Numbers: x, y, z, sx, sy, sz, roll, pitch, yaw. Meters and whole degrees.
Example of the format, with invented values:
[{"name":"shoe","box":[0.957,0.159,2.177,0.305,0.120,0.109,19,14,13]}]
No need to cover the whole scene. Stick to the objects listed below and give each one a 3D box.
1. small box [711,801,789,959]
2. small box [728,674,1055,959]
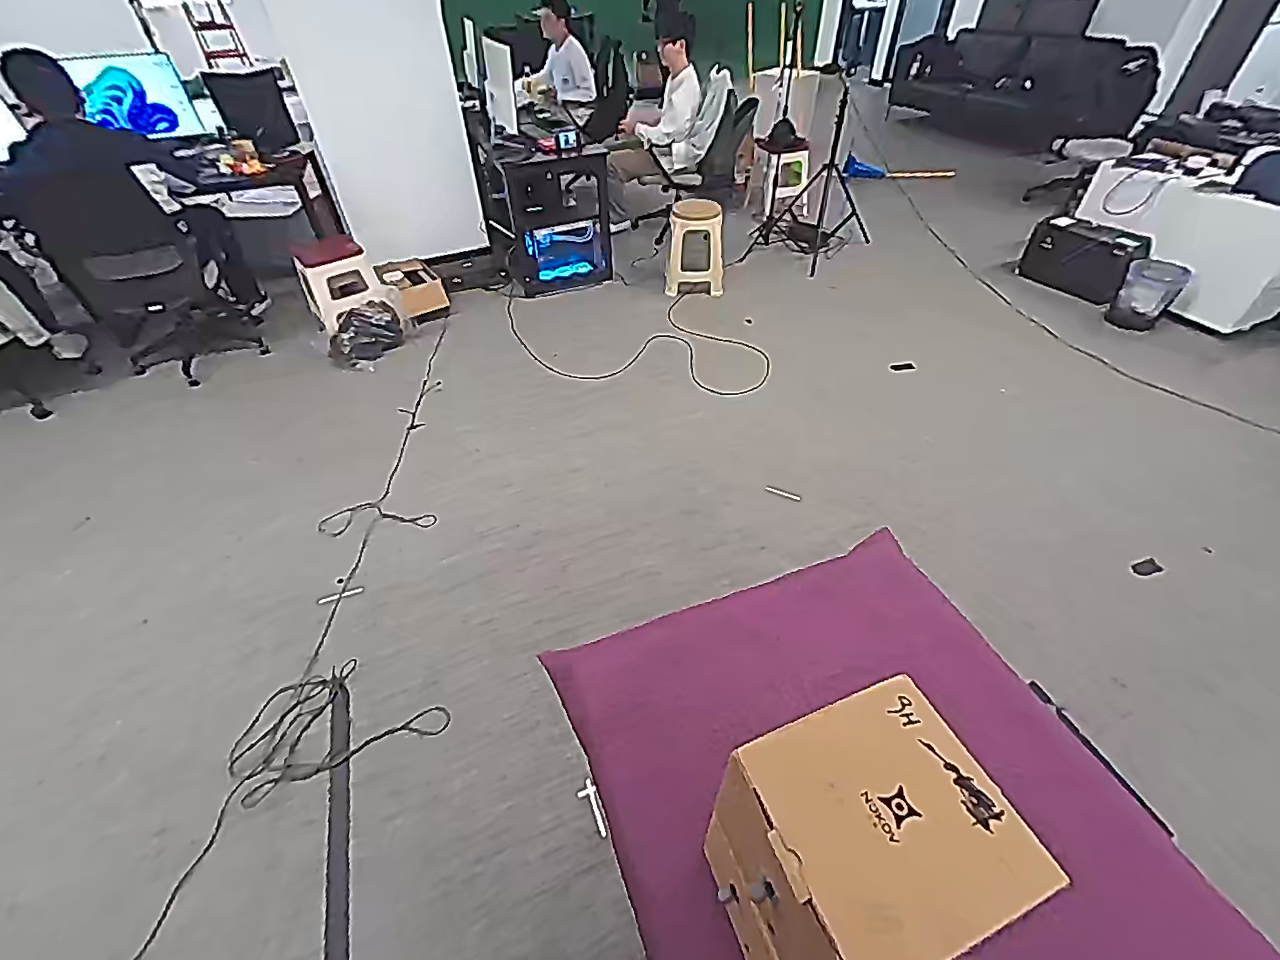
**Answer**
[{"name":"small box","box":[0.185,0.426,0.578,0.179,0.176,0.168,-15,46,-15]},{"name":"small box","box":[0.187,0.306,0.466,0.179,0.176,0.168,-16,47,-15]}]
